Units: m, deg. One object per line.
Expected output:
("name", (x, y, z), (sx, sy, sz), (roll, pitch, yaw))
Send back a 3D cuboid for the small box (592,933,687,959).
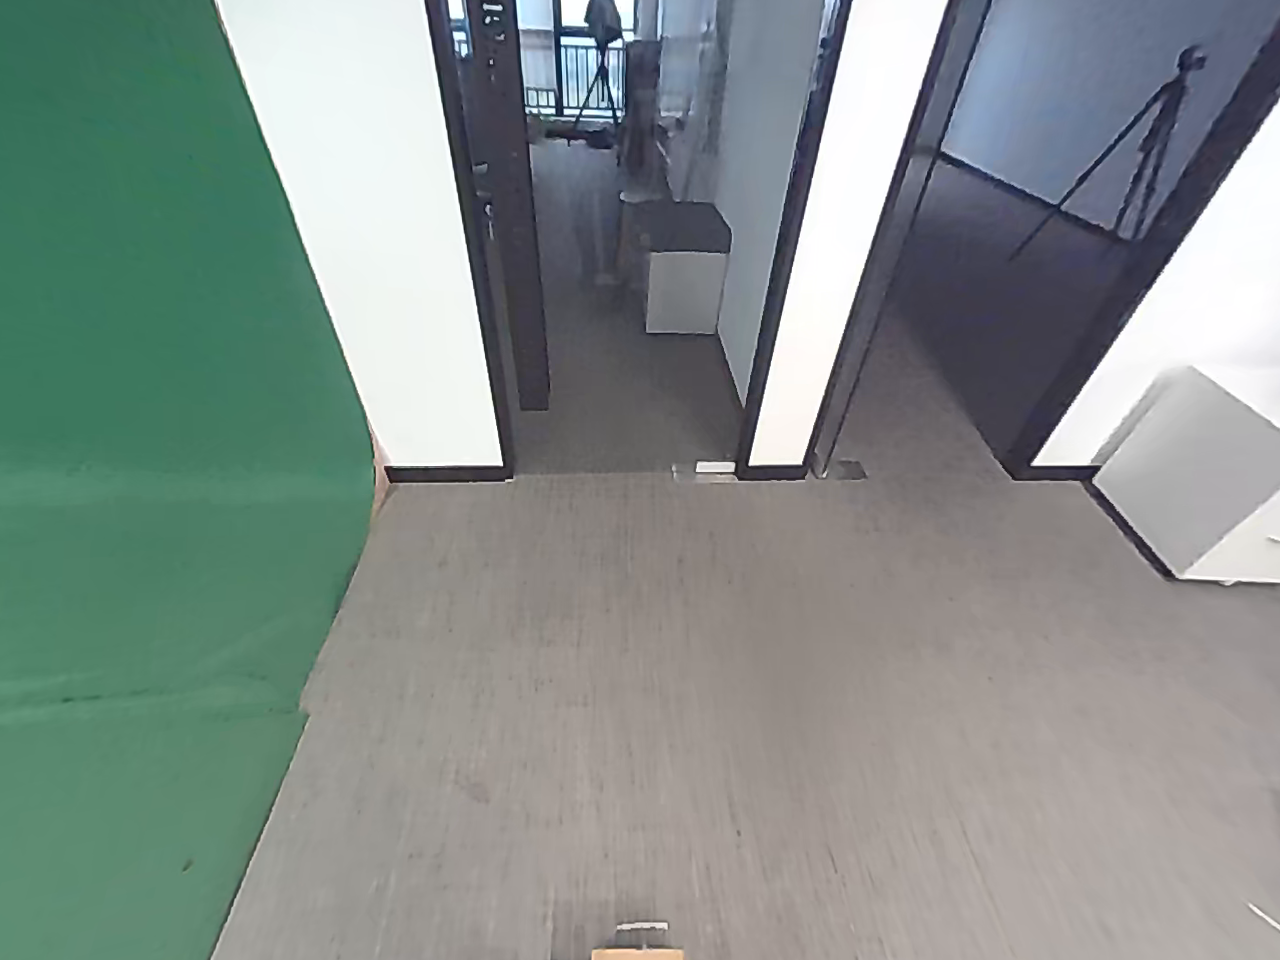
("small box", (-0.004, 0.973, 1.017), (0.179, 0.176, 0.168), (1, 42, -1))
